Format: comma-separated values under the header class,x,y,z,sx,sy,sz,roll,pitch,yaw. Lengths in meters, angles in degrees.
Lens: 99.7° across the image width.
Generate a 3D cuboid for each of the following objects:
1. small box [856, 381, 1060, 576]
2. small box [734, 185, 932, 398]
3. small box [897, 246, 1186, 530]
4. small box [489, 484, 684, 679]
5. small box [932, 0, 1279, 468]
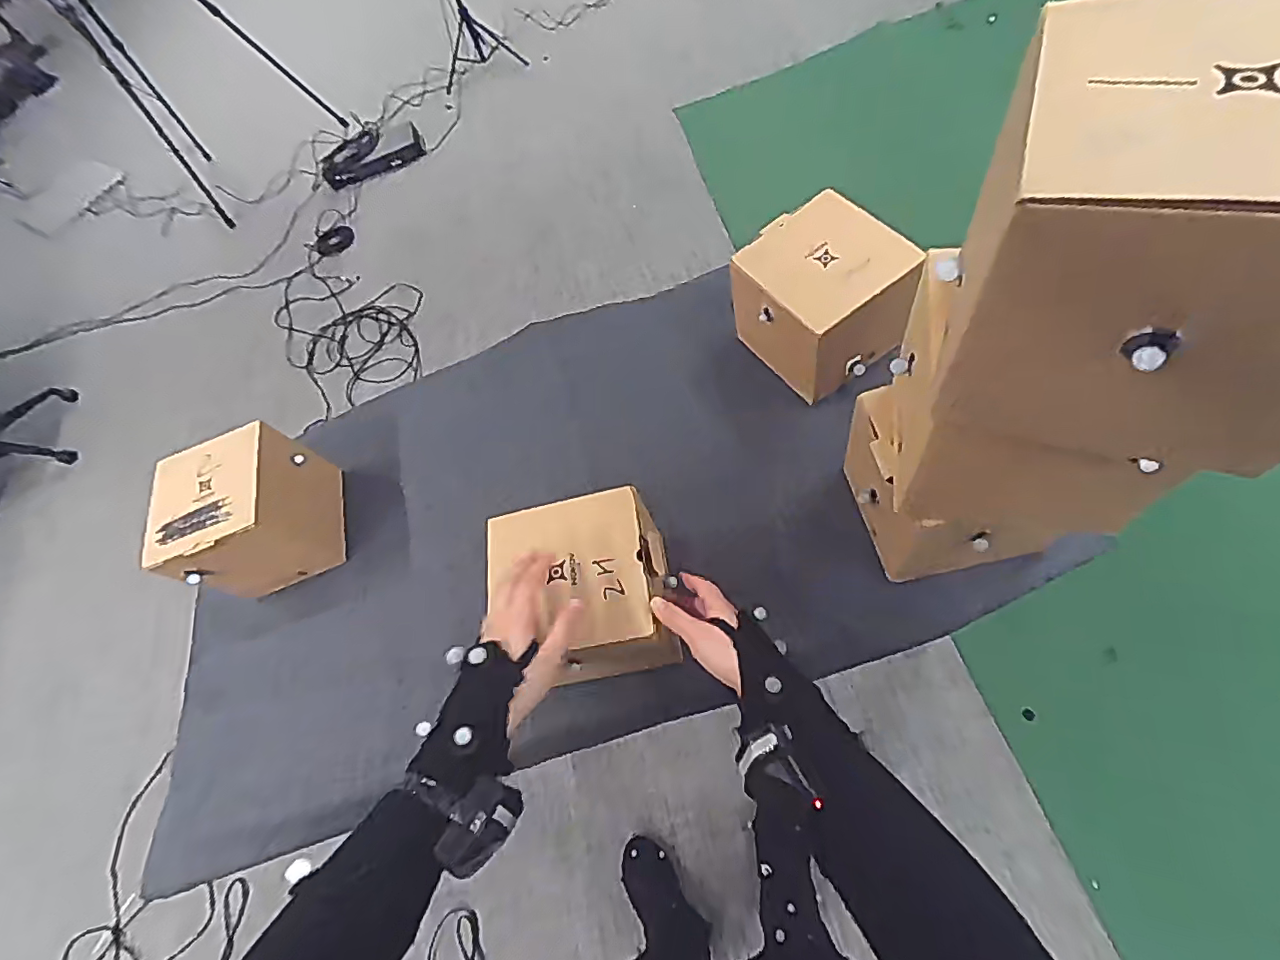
class,x,y,z,sx,sy,sz,roll,pitch,yaw
small box,0.349,-0.008,0.592,0.179,0.176,0.168,-15,60,8
small box,0.248,-0.246,0.732,0.168,0.176,0.179,-36,64,-1
small box,0.317,-0.070,0.443,0.179,0.176,0.168,5,64,17
small box,-0.058,0.128,0.632,0.179,0.176,0.168,-14,62,8
small box,0.283,-0.124,0.290,0.179,0.176,0.168,14,67,22
